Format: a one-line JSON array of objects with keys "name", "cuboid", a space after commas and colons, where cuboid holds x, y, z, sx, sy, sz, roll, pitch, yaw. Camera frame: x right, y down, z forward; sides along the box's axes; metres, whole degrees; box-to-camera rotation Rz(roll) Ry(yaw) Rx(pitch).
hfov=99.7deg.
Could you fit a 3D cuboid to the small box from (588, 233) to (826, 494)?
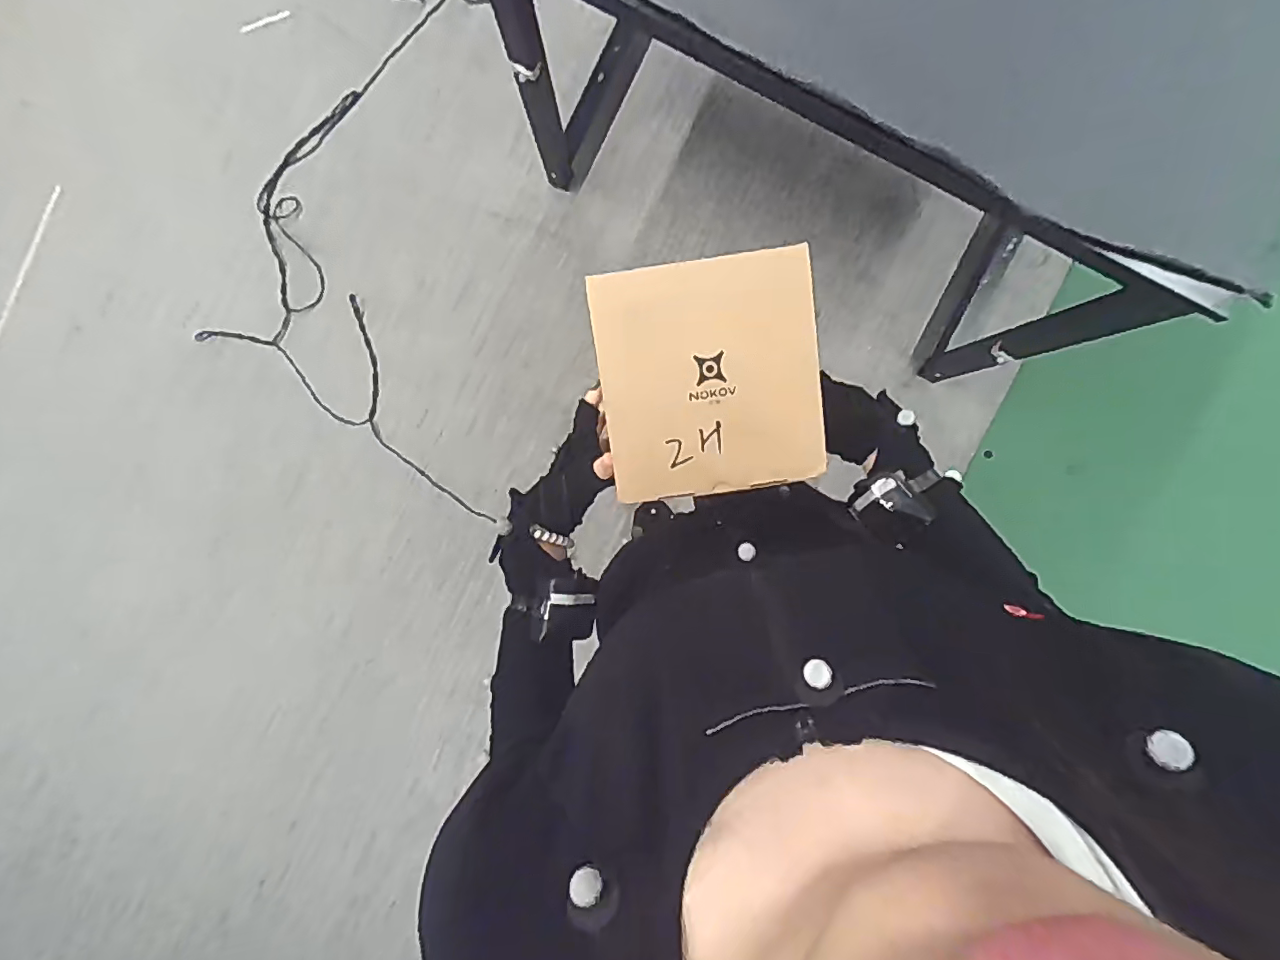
[{"name": "small box", "cuboid": [0.052, -0.096, 0.481, 0.168, 0.176, 0.179, -8, 100, 2]}]
